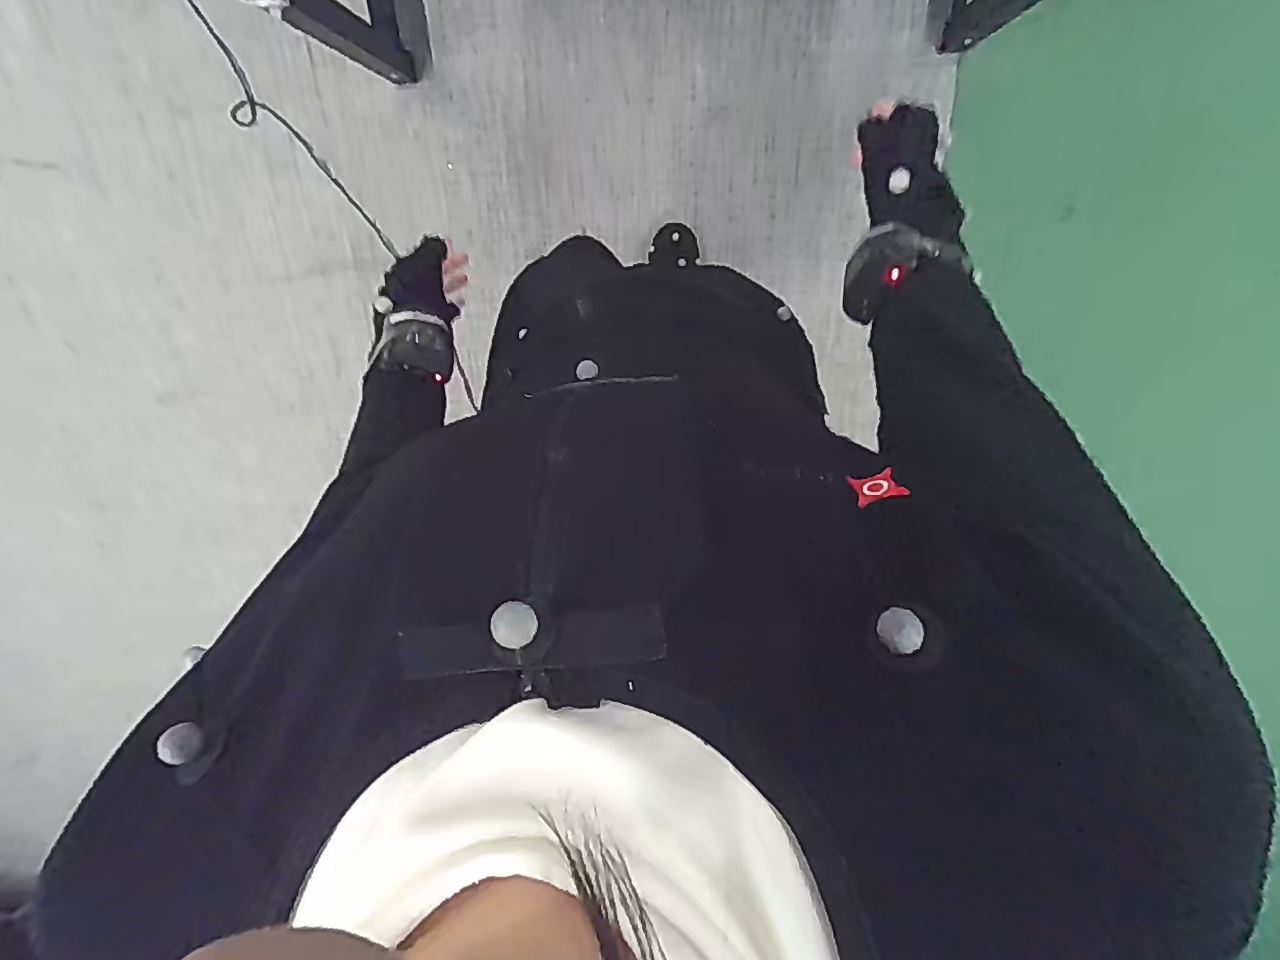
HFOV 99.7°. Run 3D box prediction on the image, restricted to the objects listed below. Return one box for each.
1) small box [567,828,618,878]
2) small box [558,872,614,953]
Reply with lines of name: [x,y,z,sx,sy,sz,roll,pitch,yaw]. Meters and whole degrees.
small box: [-0.181,1.467,2.069,0.179,0.176,0.168,4,114,0]
small box: [-0.189,1.530,1.921,0.179,0.176,0.168,3,112,1]
